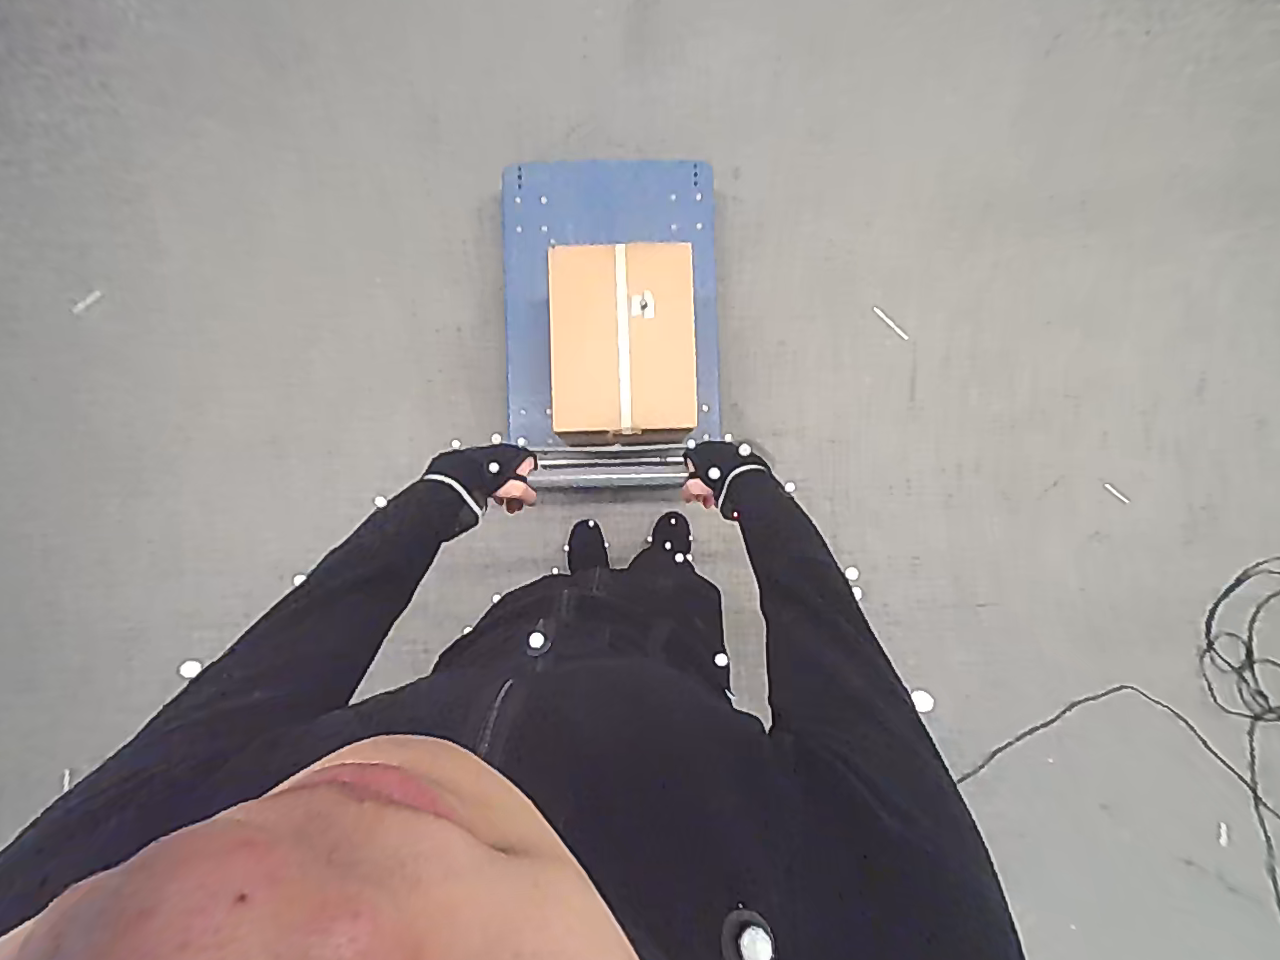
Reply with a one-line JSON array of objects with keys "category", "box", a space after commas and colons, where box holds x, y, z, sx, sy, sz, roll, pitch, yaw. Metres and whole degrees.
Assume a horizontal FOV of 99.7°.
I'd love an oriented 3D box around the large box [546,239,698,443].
[{"category": "large box", "box": [-0.042, -0.311, 1.310, 0.320, 0.320, 0.408, -2, 88, -2]}]
